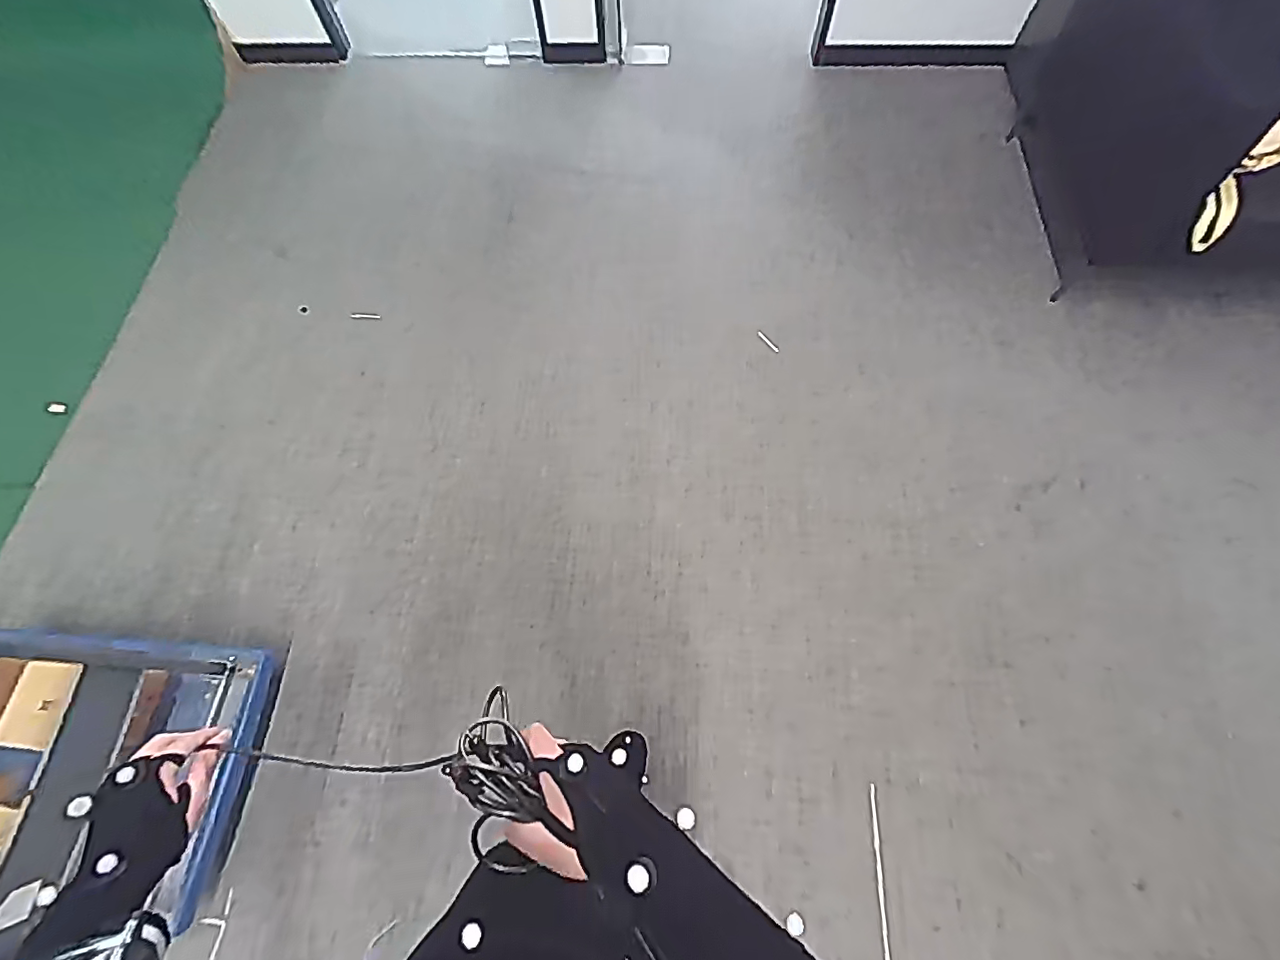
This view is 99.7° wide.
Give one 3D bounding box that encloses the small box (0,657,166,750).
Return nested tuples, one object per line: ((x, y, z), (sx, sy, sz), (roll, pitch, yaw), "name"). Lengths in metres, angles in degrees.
((-1.225, 0.492, 1.194), (0.179, 0.176, 0.168), (5, 68, 3), "small box")

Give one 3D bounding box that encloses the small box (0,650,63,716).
((-1.481, 0.465, 1.207), (0.179, 0.176, 0.168), (3, 68, 1), "small box")
